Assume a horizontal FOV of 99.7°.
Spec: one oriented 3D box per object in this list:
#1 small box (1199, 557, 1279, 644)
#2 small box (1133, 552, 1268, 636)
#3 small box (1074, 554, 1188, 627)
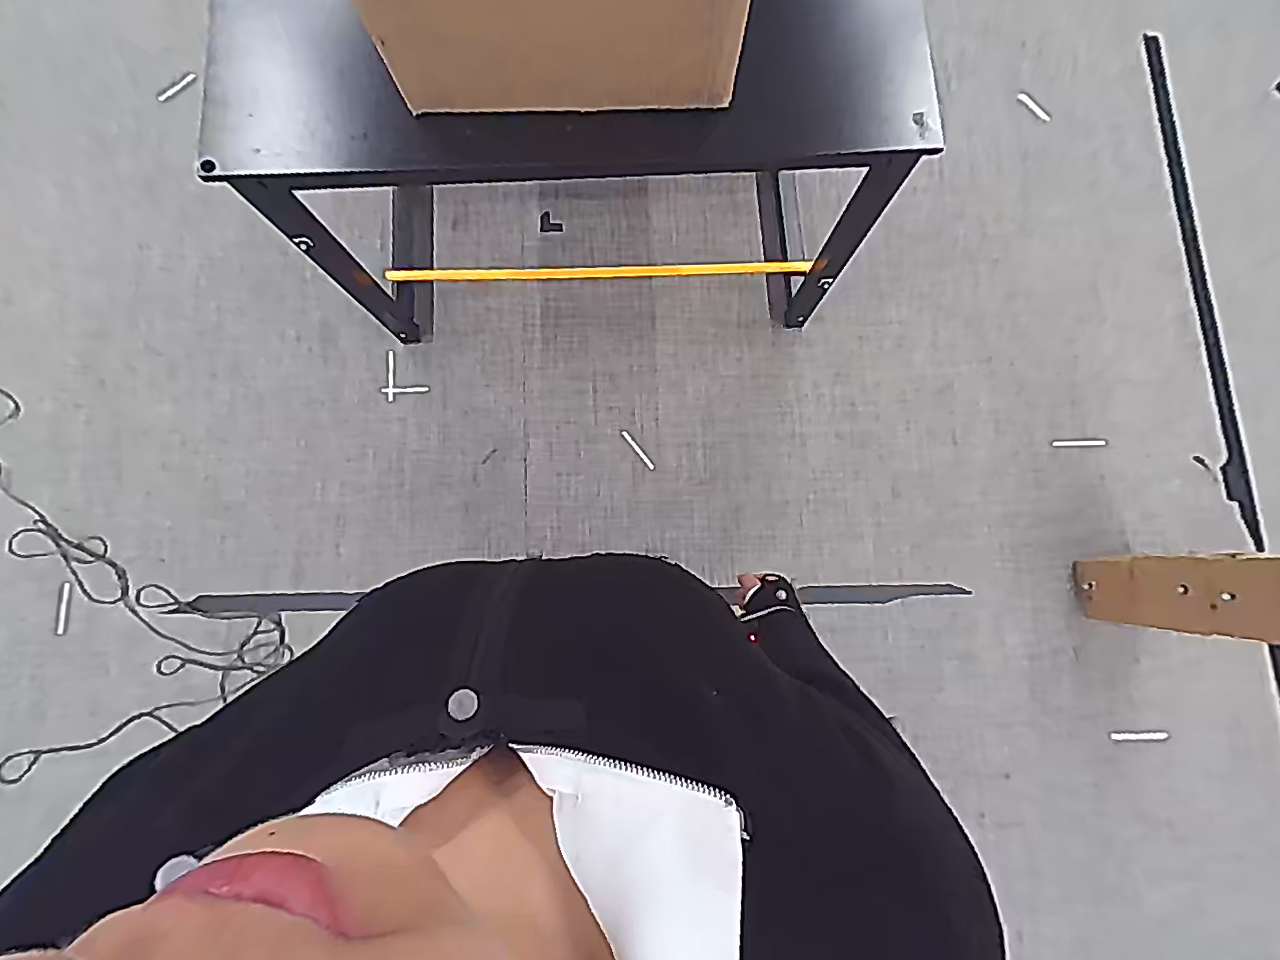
[{"bbox_3d":[1.307,0.241,1.092,0.179,0.176,0.168,0,81,0],"label":"small box"},{"bbox_3d":[1.304,0.261,1.256,0.168,0.176,0.179,-3,82,0],"label":"small box"},{"bbox_3d":[1.302,0.284,1.419,0.179,0.176,0.168,-7,81,0],"label":"small box"}]
